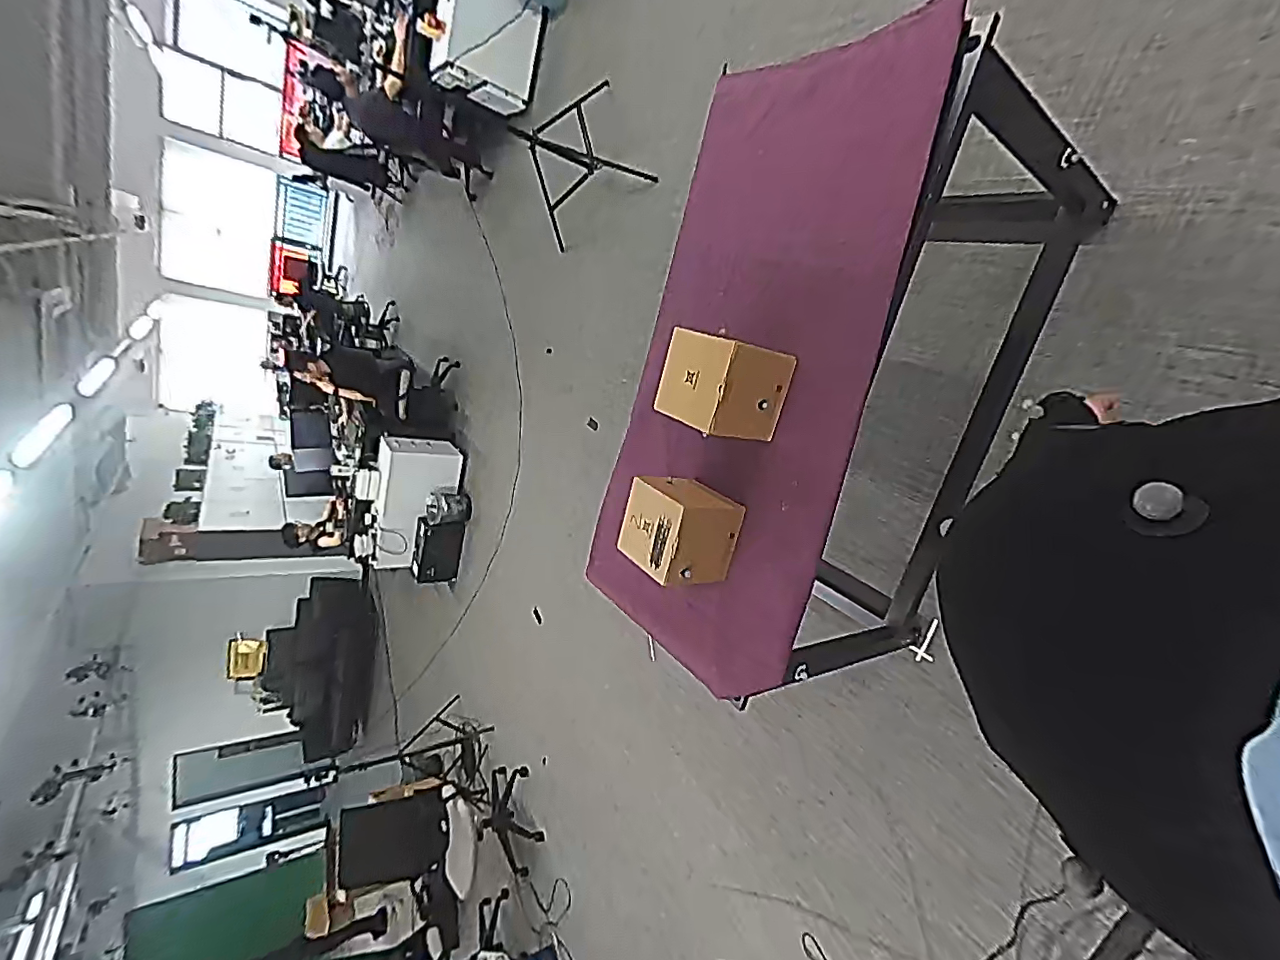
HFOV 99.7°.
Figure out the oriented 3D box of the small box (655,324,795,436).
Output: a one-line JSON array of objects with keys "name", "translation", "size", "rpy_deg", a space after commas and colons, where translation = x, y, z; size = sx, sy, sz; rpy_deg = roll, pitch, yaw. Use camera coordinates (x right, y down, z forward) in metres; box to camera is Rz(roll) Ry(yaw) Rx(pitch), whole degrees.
[{"name": "small box", "translation": [0.161, -0.189, 1.041], "size": [0.179, 0.176, 0.168], "rpy_deg": [33, 114, 49]}]
